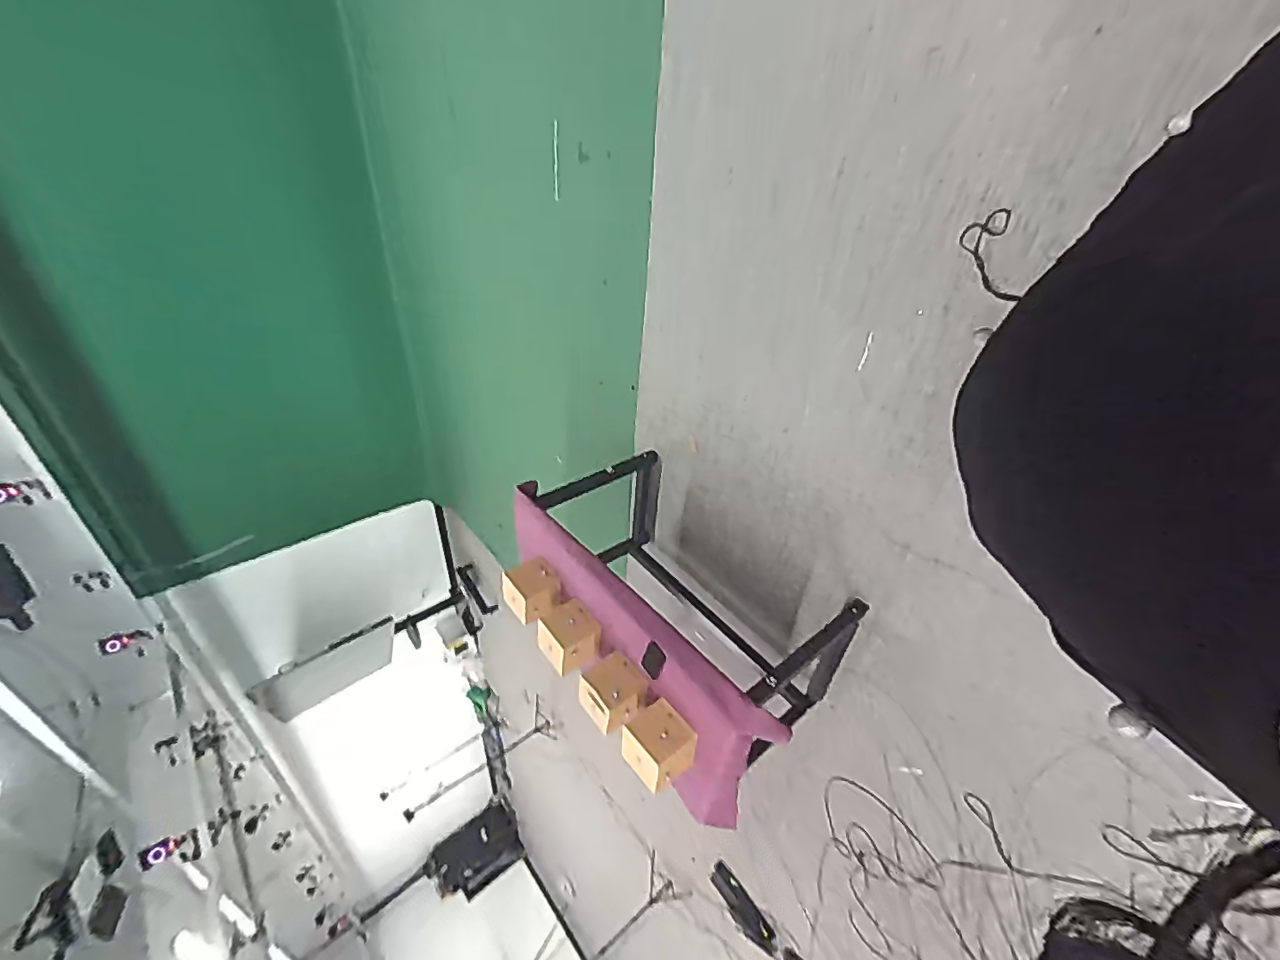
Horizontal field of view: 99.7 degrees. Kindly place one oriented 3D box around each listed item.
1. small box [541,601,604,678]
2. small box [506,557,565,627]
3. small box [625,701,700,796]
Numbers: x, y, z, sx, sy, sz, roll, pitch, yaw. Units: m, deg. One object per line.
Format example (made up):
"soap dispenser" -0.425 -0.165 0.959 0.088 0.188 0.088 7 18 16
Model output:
"small box" -0.247 0.581 1.989 0.168 0.176 0.179 41 139 34
"small box" -0.412 0.440 2.135 0.168 0.176 0.179 41 139 32
"small box" 0.072 0.837 1.701 0.168 0.176 0.179 36 136 38
